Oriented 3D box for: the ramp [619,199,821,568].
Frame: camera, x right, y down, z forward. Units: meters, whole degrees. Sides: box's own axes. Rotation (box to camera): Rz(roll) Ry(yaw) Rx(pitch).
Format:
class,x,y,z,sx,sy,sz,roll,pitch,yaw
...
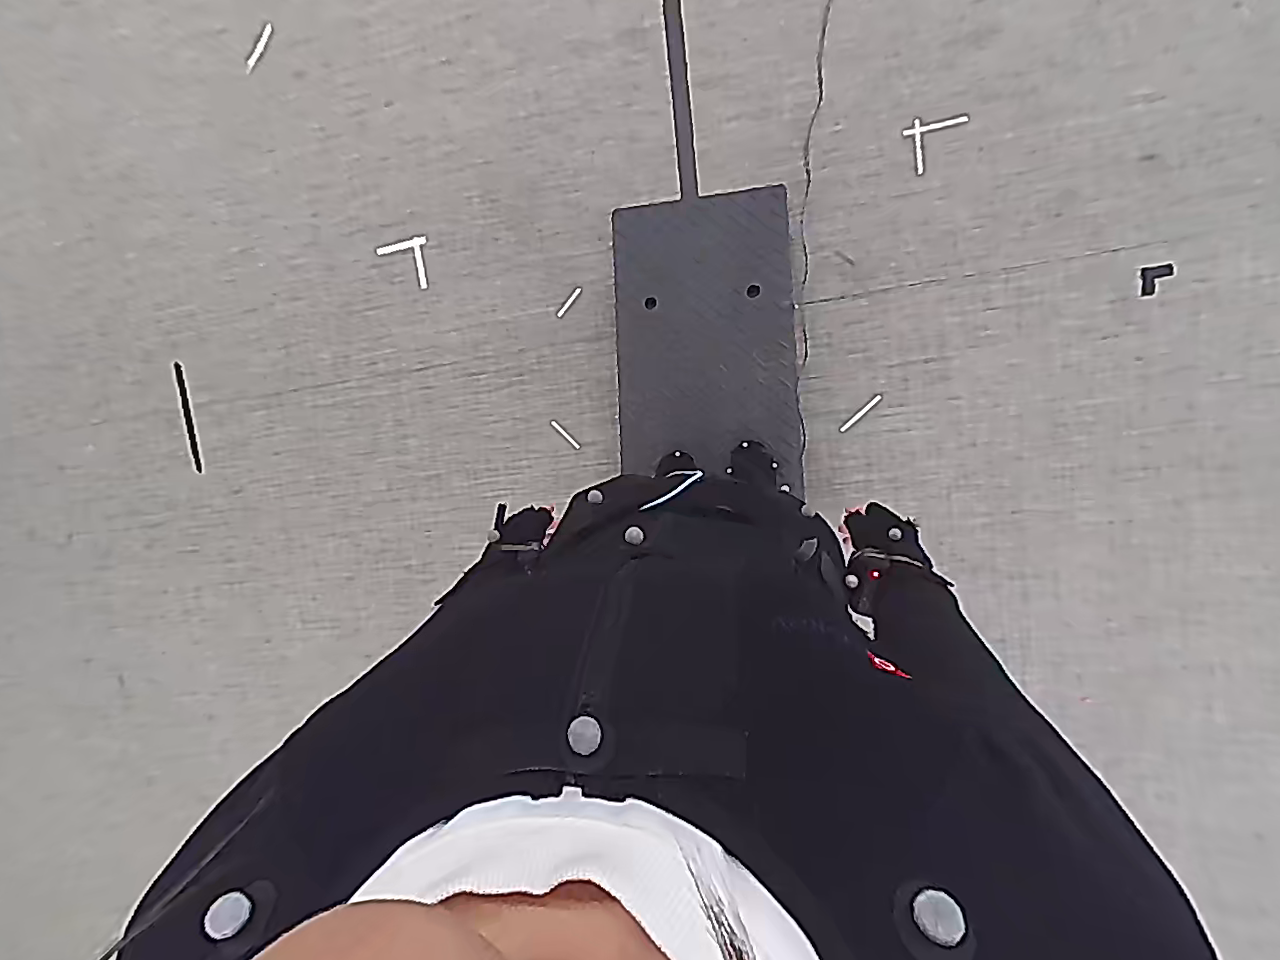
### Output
class,x,y,z,sx,sy,sz,roll,pitch,yaw
ramp,0.201,-0.269,1.496,0.509,0.206,0.991,-6,93,13
